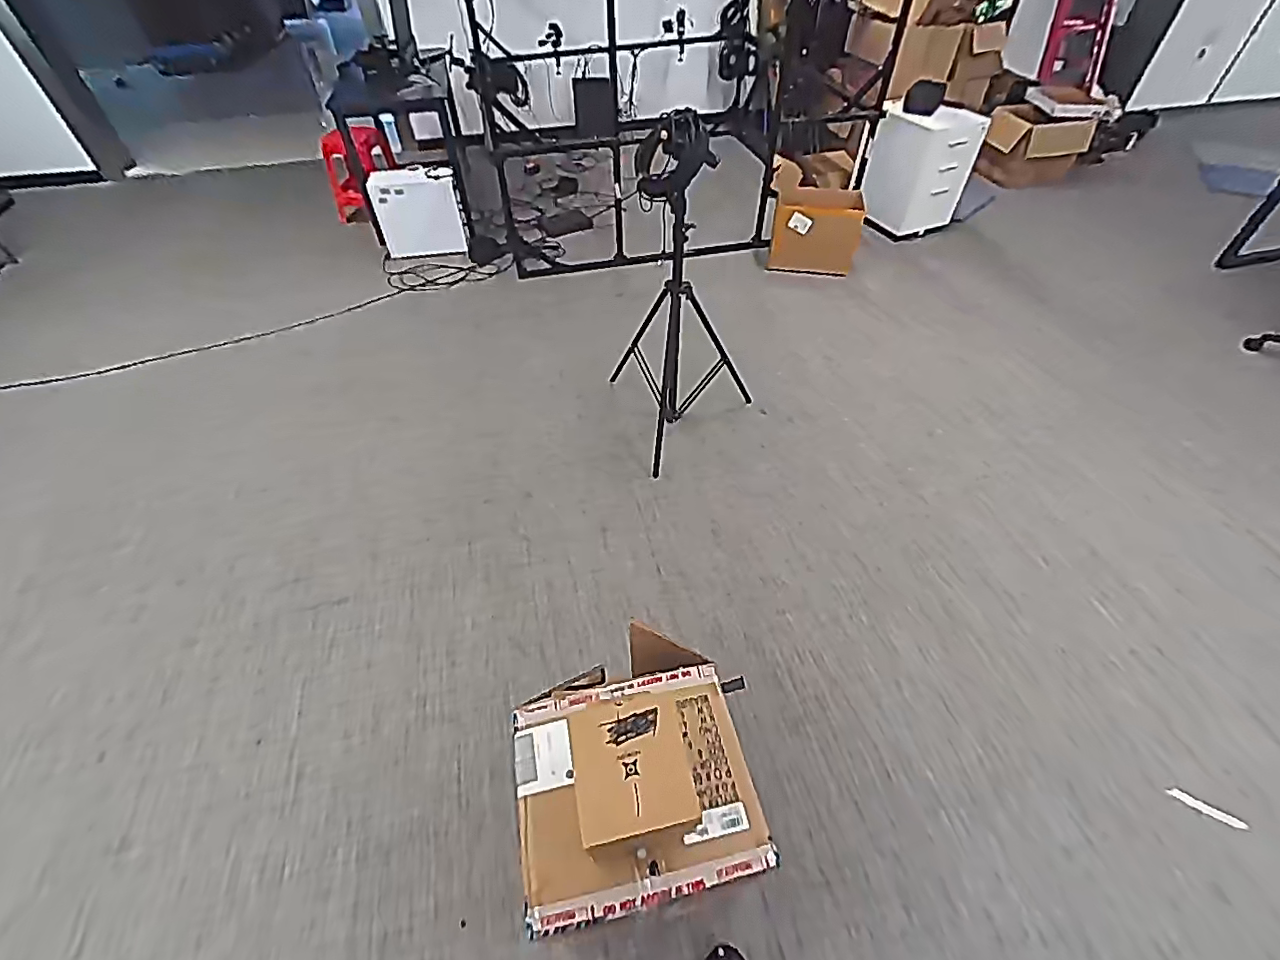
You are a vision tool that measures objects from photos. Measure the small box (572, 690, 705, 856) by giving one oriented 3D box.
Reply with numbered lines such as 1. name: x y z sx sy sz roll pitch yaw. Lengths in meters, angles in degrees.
1. small box: -0.009 0.454 0.834 0.168 0.176 0.179 -10 52 -7
